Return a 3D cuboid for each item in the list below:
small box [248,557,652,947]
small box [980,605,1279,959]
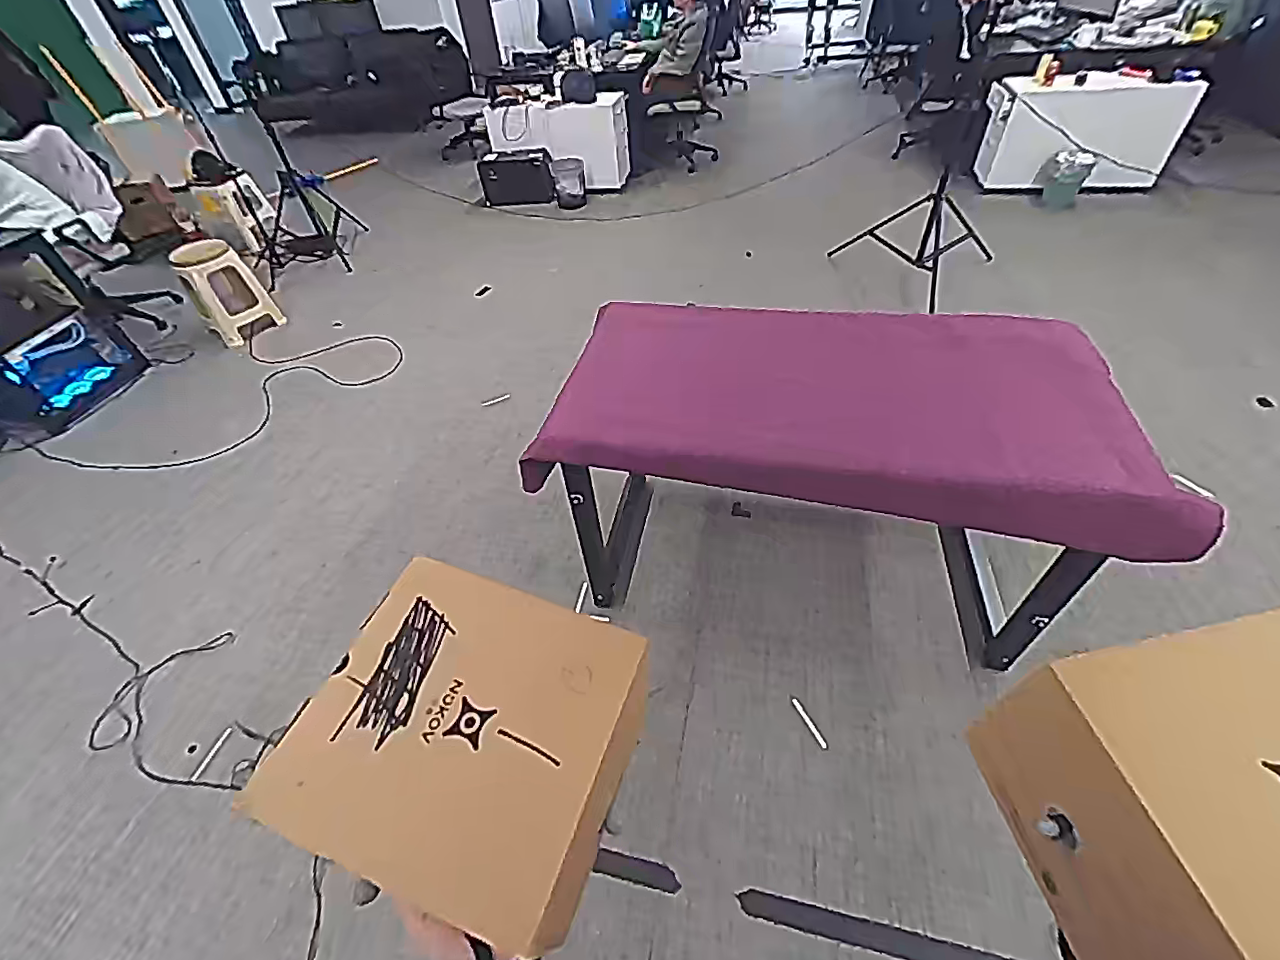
[{"bbox_3d":[-0.102,0.185,0.376,0.179,0.176,0.168,17,53,12],"label":"small box"},{"bbox_3d":[0.350,0.199,0.337,0.179,0.176,0.168,-12,51,0],"label":"small box"}]
